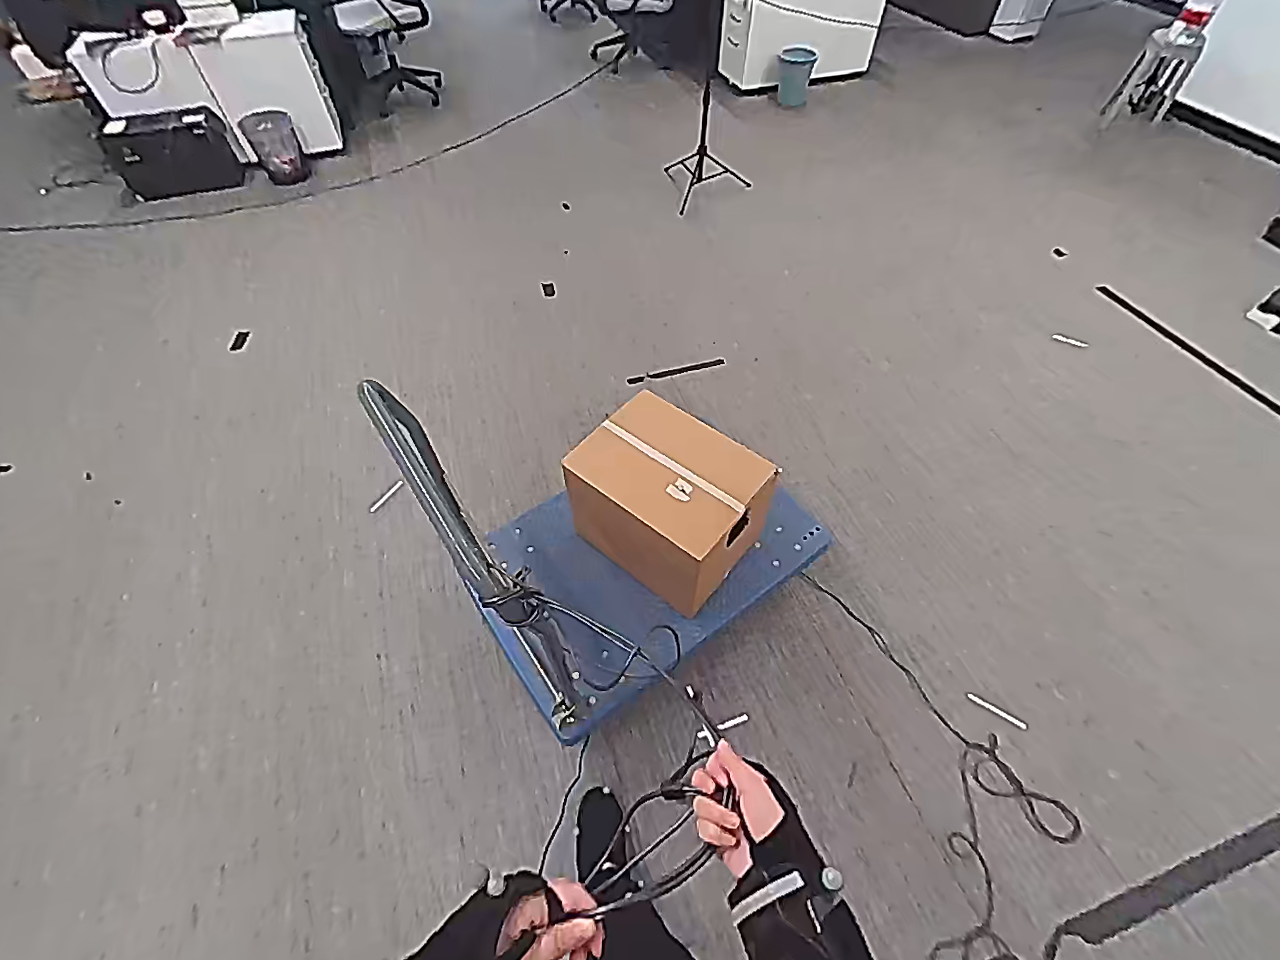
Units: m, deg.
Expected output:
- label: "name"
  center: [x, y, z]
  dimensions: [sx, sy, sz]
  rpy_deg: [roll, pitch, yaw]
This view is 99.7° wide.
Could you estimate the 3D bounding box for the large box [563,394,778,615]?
- label: "large box"
  center: [0.066, 0.059, 1.357]
  dimensions: [0.408, 0.320, 0.320]
  rpy_deg: [34, 61, 22]
